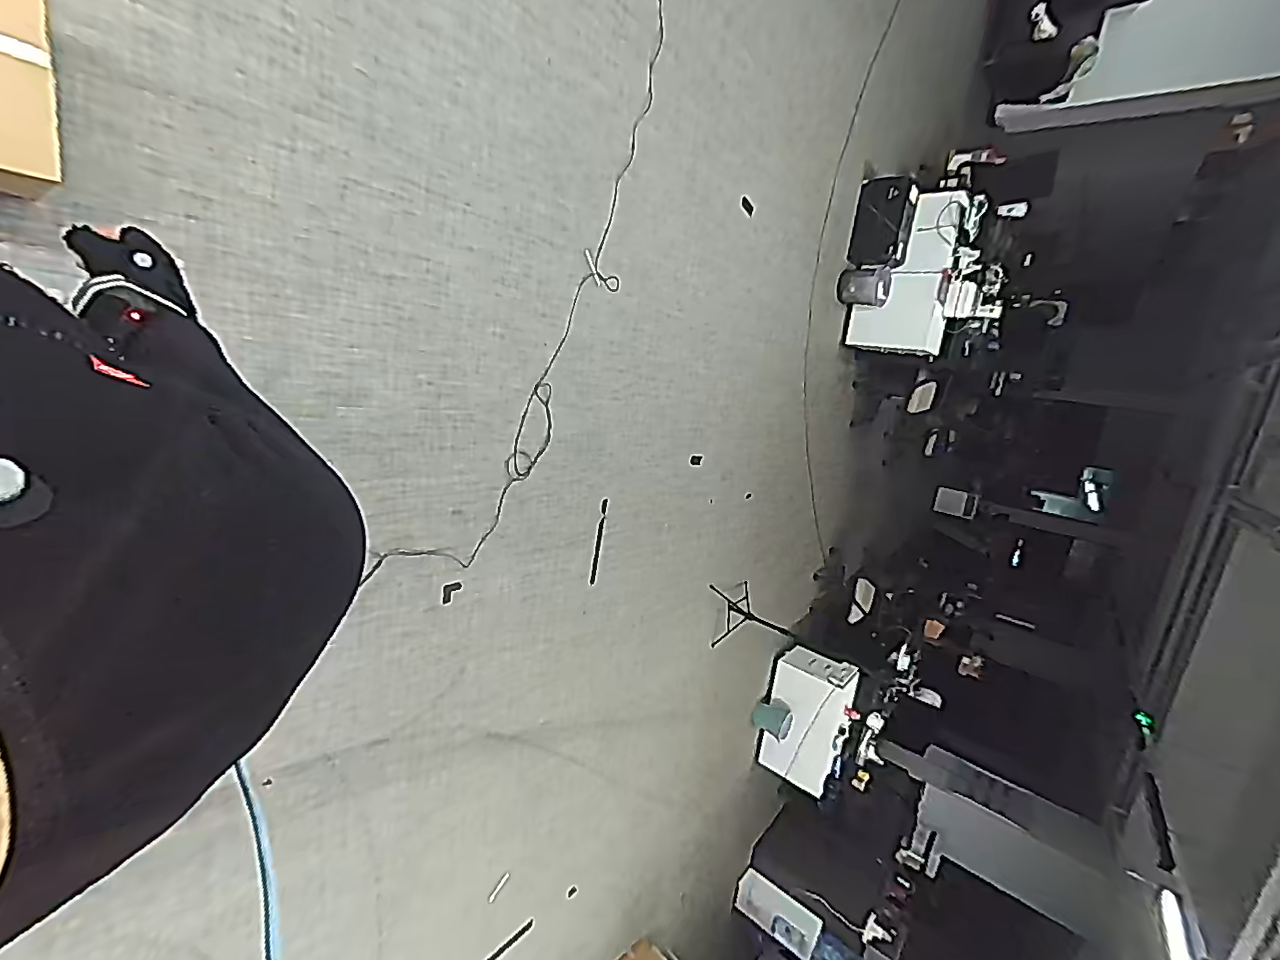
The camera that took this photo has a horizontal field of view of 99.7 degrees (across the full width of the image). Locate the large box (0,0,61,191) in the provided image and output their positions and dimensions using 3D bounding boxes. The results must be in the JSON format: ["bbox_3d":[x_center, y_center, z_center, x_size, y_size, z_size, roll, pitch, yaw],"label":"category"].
[{"bbox_3d":[-1.064,-0.603,0.684,0.408,0.320,0.320,-9,111,-52],"label":"large box"}]
